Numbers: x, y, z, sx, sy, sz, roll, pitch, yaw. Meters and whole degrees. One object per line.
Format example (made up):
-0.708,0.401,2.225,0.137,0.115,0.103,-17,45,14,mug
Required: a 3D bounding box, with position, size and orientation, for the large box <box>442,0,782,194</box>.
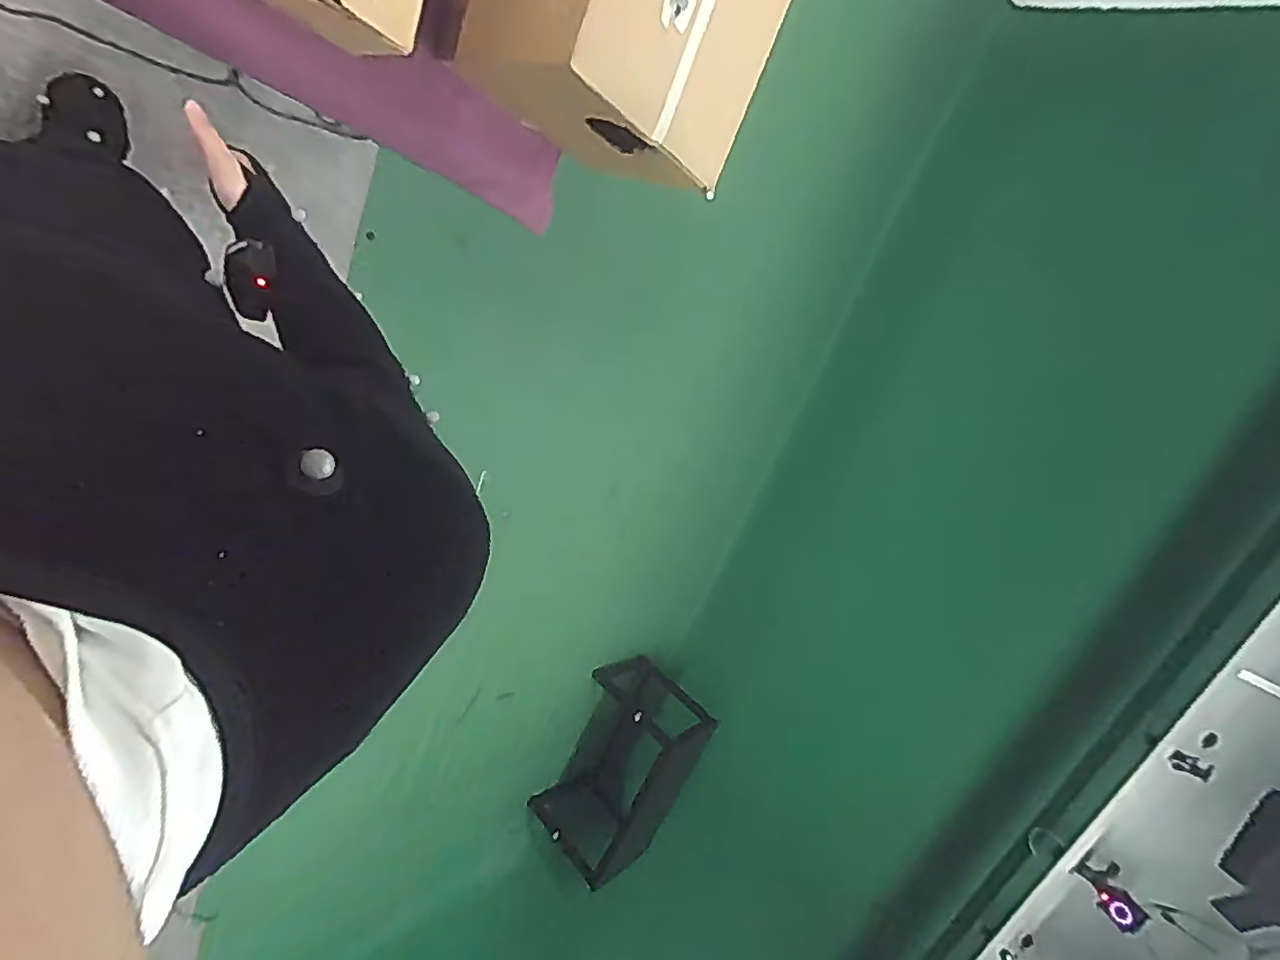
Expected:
-0.019,-0.695,0.754,0.320,0.320,0.408,3,115,-52,large box
